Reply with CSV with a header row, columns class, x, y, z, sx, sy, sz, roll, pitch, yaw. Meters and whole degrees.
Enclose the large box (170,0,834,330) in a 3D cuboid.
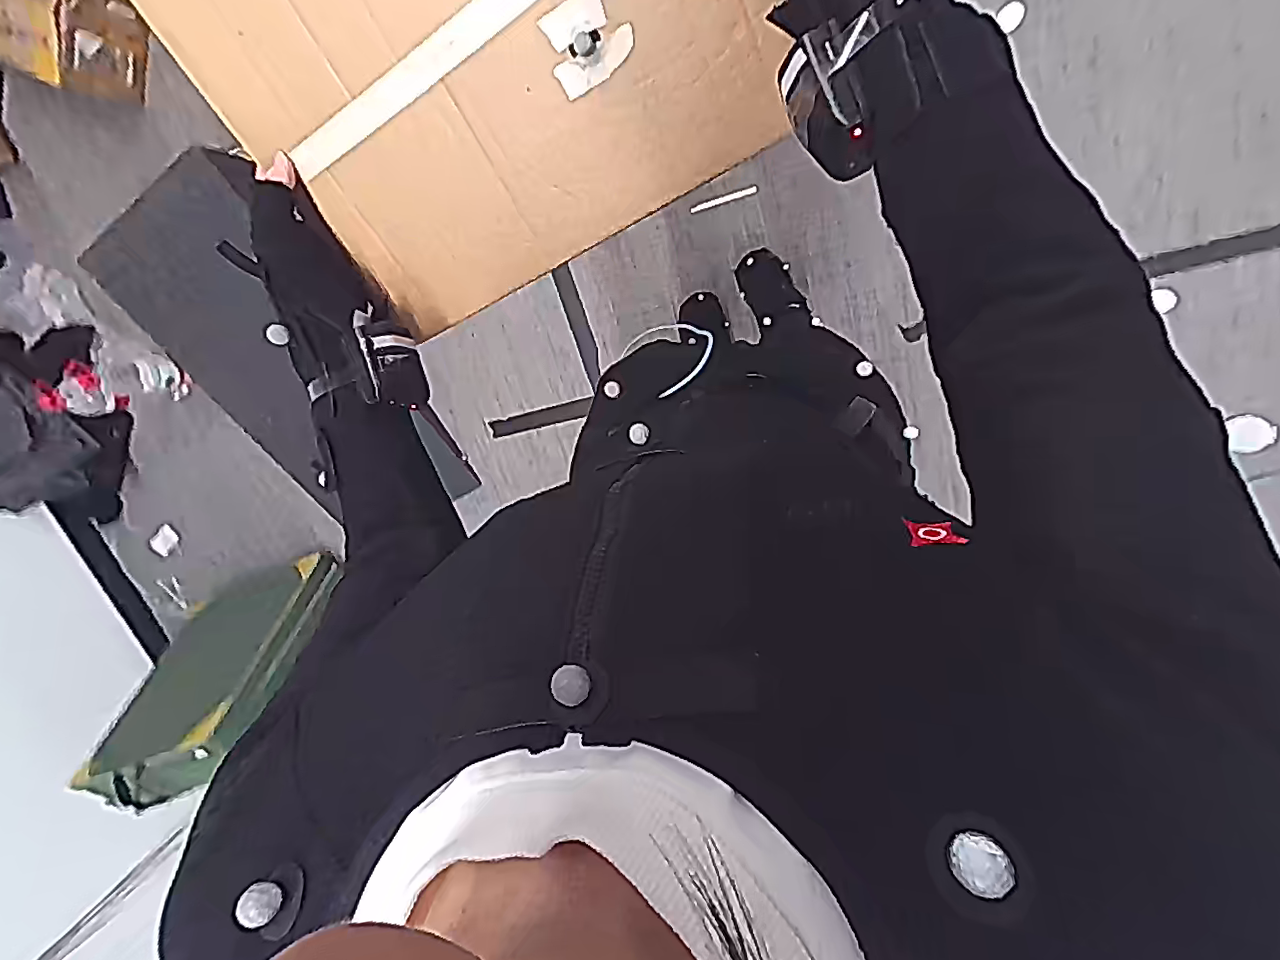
class,x,y,z,sx,sy,sz,roll,pitch,yaw
large box,-0.093,-0.404,0.495,0.408,0.320,0.320,-21,121,19
